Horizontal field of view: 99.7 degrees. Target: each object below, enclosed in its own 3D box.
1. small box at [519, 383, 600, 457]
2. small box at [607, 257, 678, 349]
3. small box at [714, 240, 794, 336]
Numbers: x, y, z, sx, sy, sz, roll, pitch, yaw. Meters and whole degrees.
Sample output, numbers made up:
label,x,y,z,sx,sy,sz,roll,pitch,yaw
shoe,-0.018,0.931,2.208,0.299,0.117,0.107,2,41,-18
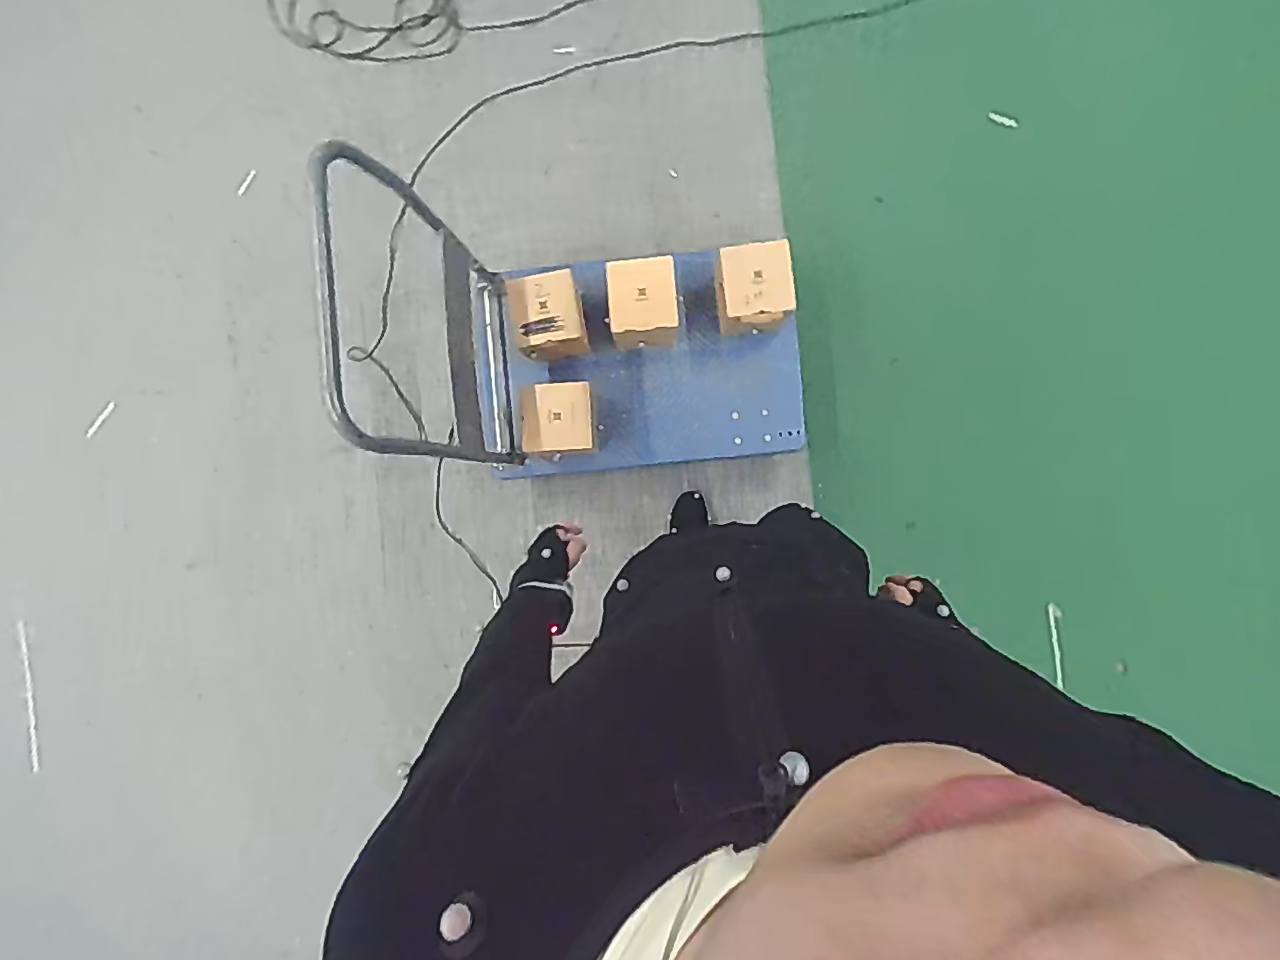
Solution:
label,x,y,z,sx,sy,sz,roll,pitch,yaw
small box,-0.203,-0.150,1.396,0.179,0.176,0.168,-3,89,2
small box,0.006,-0.451,1.396,0.168,0.176,0.179,-5,90,2
small box,0.284,-0.483,1.381,0.168,0.176,0.179,-6,89,3
